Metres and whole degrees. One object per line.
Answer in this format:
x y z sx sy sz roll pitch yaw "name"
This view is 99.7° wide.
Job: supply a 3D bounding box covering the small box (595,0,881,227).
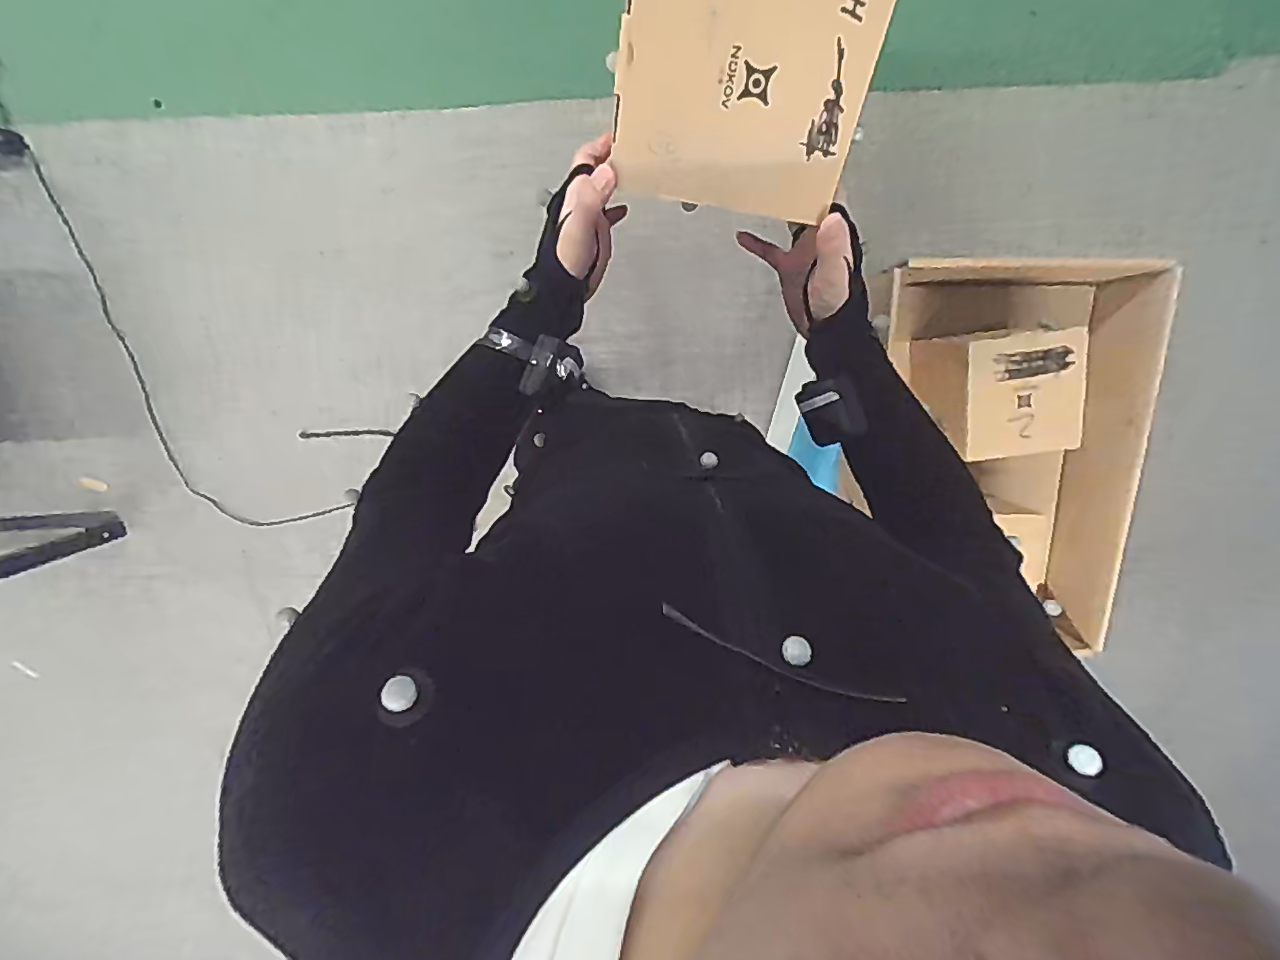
0.066 -0.322 0.445 0.179 0.176 0.168 8 123 -3 "small box"
